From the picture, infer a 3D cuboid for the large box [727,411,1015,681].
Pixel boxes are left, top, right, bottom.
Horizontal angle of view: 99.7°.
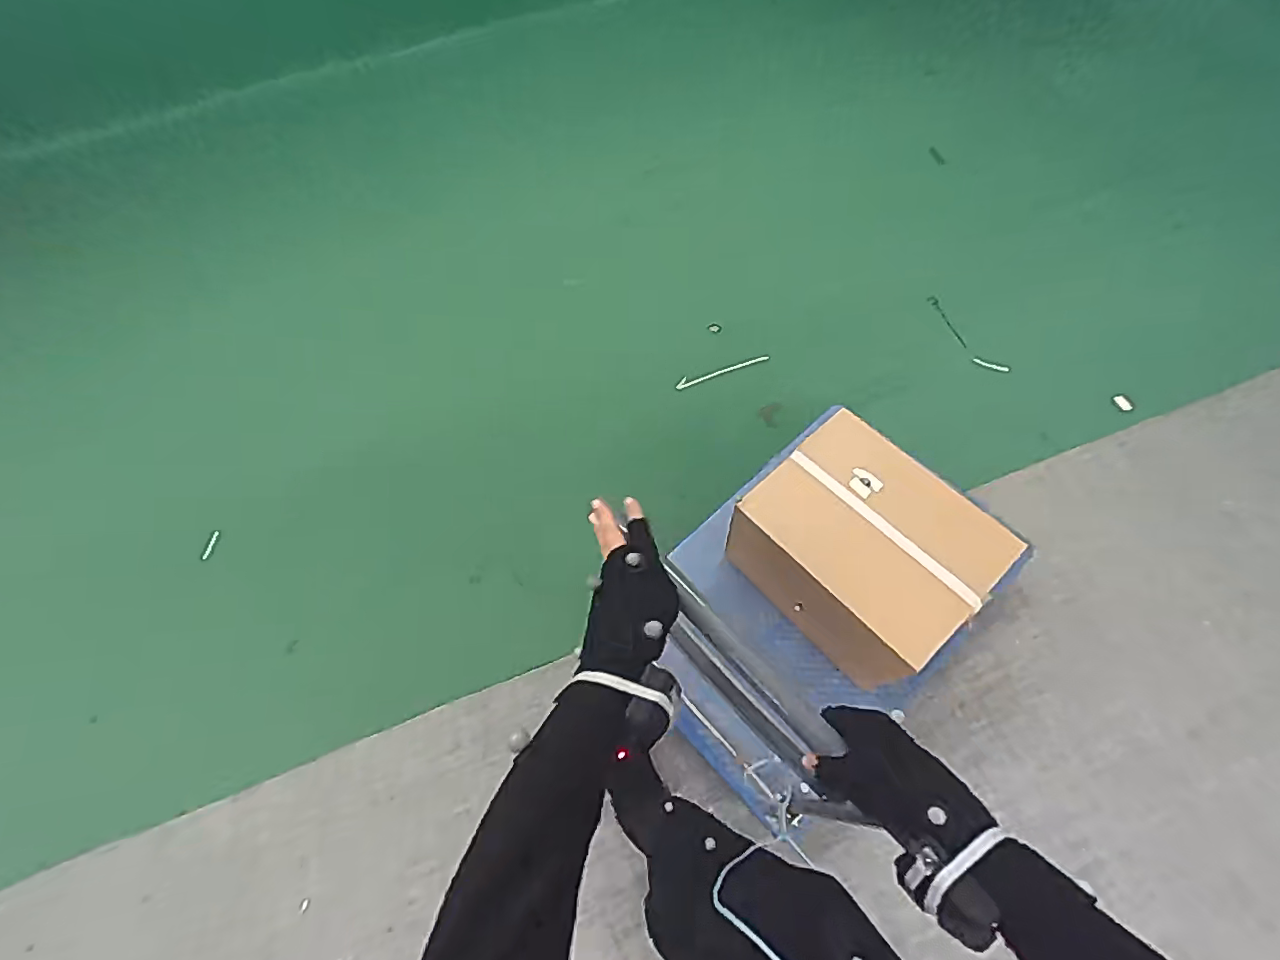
[{"bbox_3d":[0.431,0.143,1.118,0.320,0.320,0.408,-39,66,-14],"label":"large box"}]
